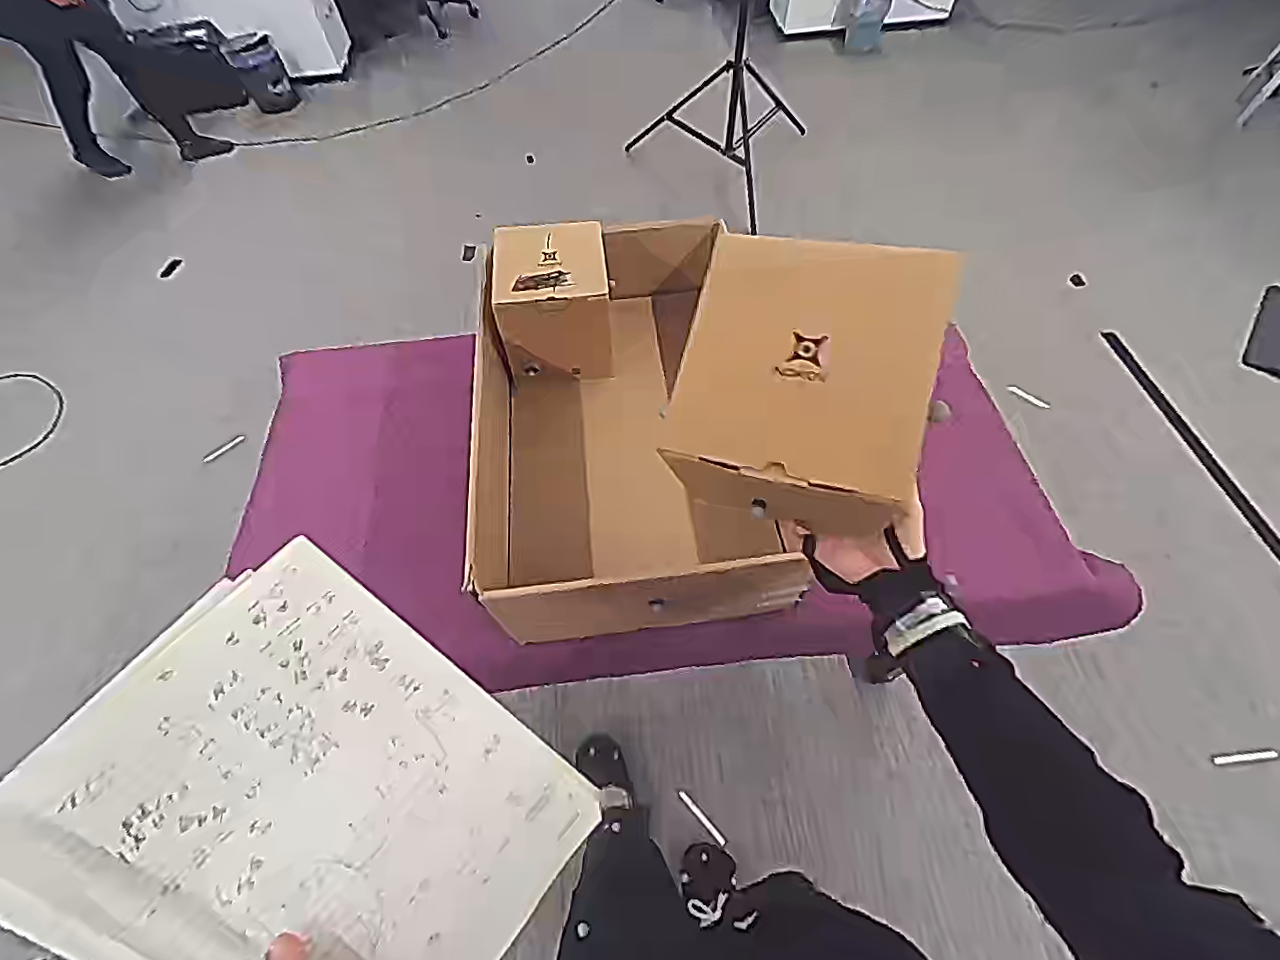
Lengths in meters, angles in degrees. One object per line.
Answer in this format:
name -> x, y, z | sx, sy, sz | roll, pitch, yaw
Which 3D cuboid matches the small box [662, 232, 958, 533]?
small box -> 0.131, -0.067, 0.441 | 0.168, 0.176, 0.179 | 13, 81, 18
